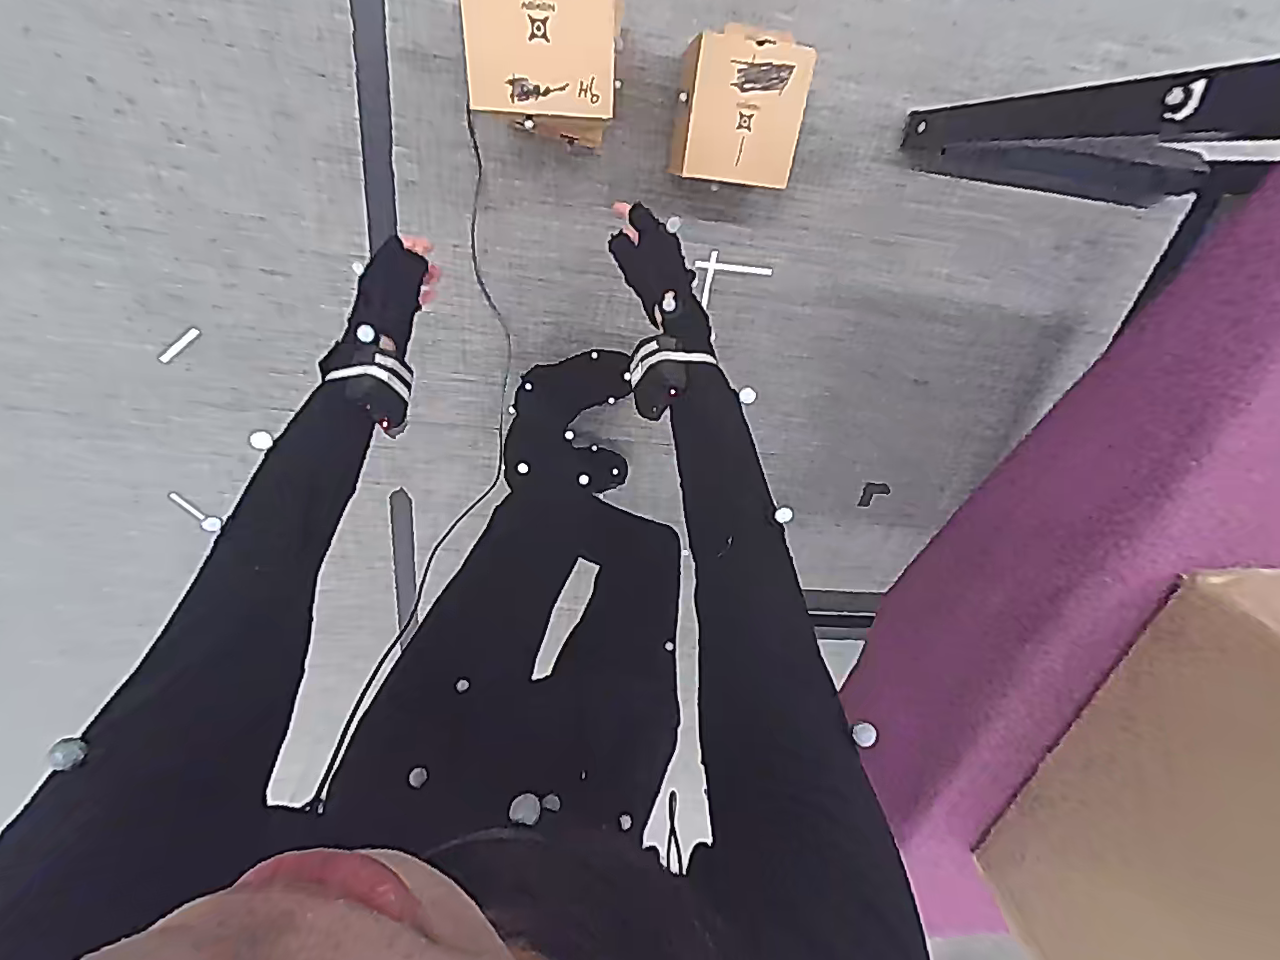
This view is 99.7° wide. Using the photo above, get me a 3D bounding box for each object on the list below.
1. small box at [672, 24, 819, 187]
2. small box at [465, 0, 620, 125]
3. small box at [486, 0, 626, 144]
[{"bbox_3d":[0.149,-0.567,0.839,0.168,0.176,0.179,4,121,-8],"label":"small box"},{"bbox_3d":[-0.112,-0.539,0.643,0.168,0.176,0.179,0,120,-7],"label":"small box"},{"bbox_3d":[-0.122,-0.611,0.790,0.168,0.176,0.179,9,118,-12],"label":"small box"}]
